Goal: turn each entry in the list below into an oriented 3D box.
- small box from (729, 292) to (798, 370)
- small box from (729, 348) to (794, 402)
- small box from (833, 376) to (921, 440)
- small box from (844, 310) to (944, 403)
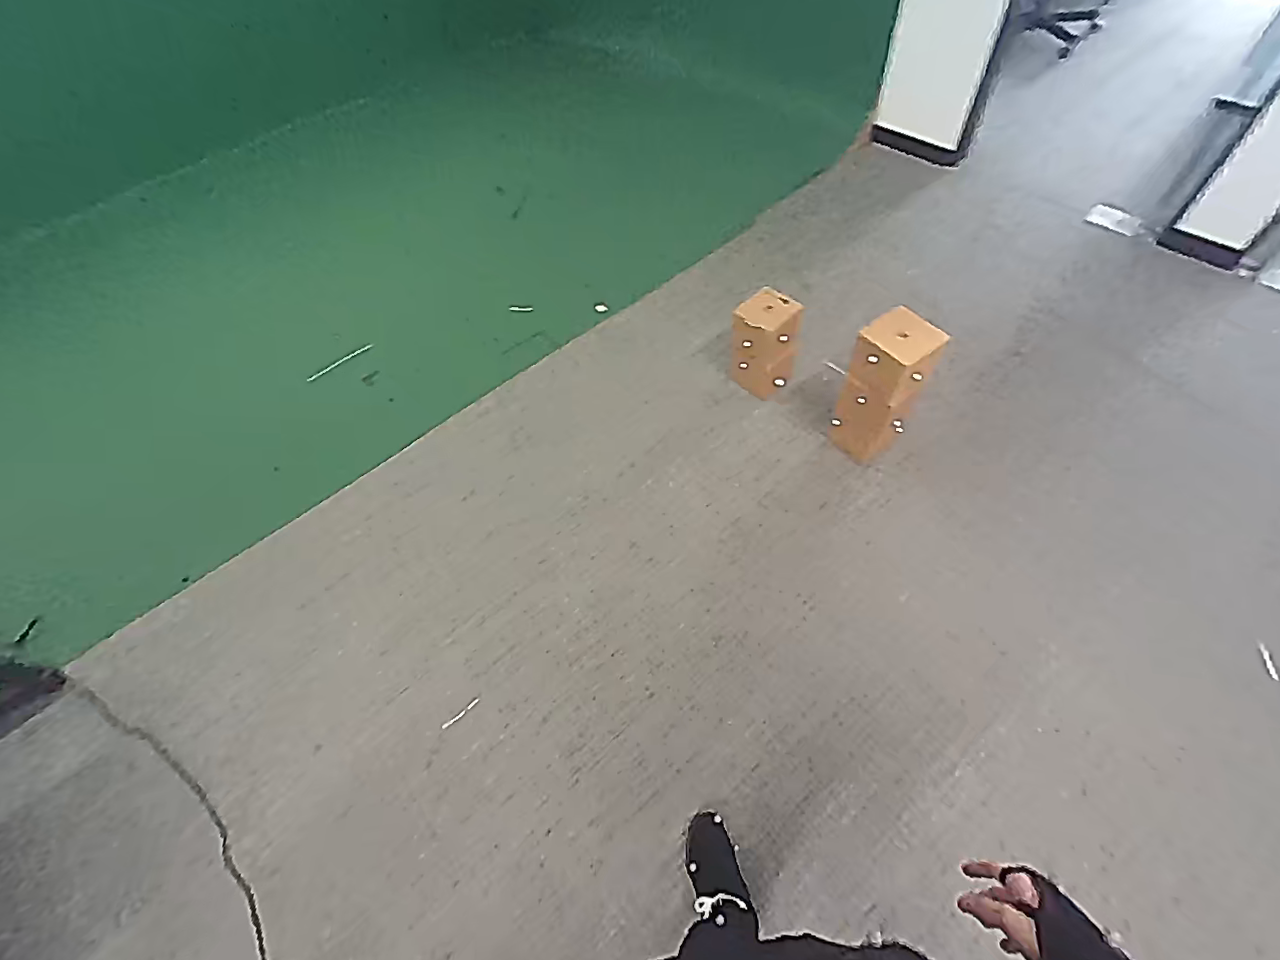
[{"bbox_3d":[0.430,-0.518,1.896,0.179,0.176,0.168,-41,62,-18],"label":"small box"},{"bbox_3d":[0.449,-0.426,2.031,0.168,0.176,0.179,-38,62,-17],"label":"small box"},{"bbox_3d":[0.732,-0.257,1.688,0.168,0.176,0.179,-37,61,-16],"label":"small box"},{"bbox_3d":[0.720,-0.345,1.552,0.168,0.176,0.179,-33,59,-13],"label":"small box"}]
